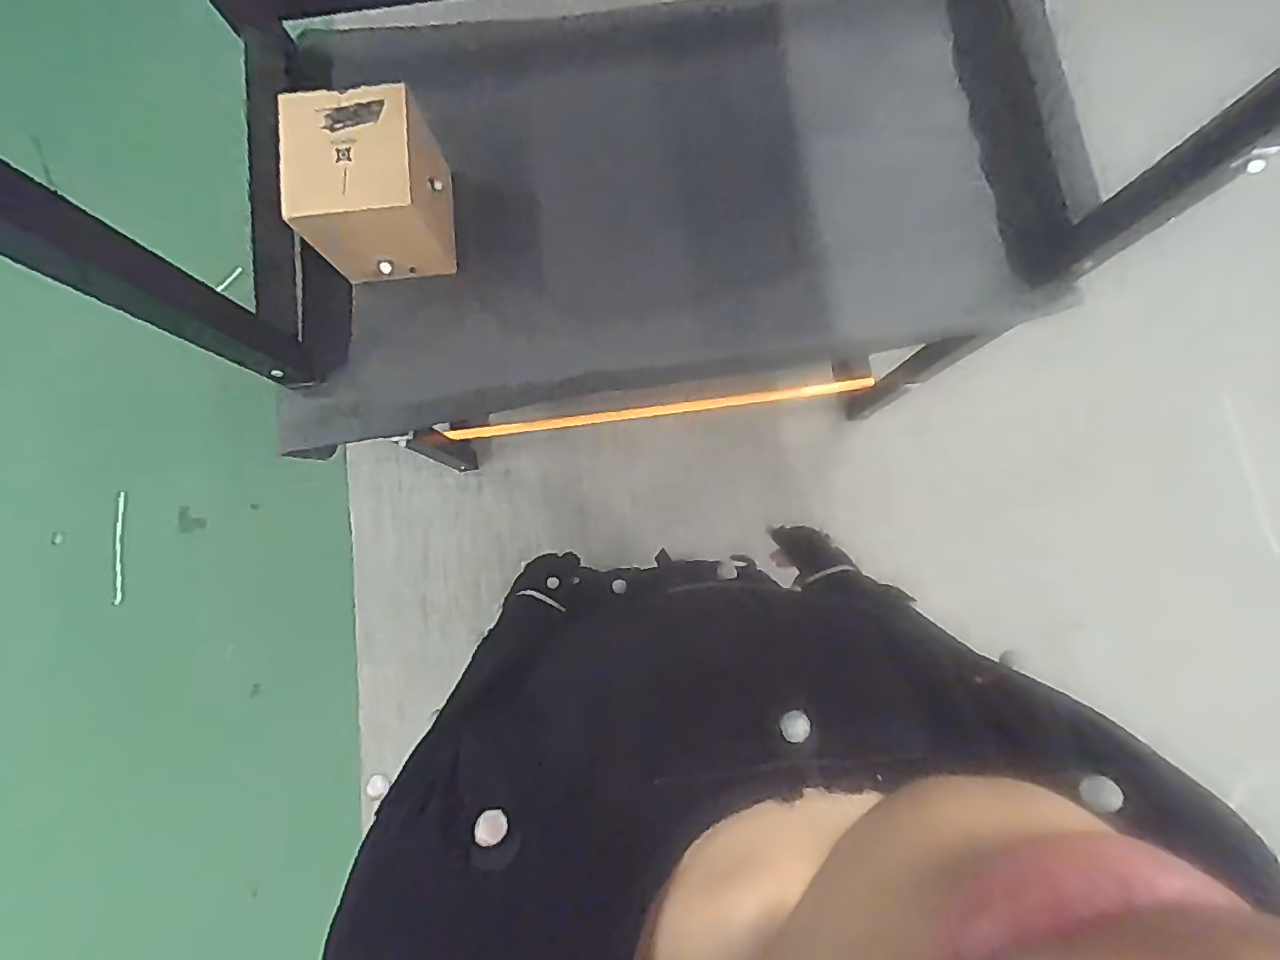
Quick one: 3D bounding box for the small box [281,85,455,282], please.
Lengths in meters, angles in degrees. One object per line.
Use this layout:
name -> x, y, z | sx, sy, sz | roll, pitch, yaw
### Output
small box -> -0.373, -0.408, 0.766 | 0.168, 0.176, 0.179 | -6, 82, 0
